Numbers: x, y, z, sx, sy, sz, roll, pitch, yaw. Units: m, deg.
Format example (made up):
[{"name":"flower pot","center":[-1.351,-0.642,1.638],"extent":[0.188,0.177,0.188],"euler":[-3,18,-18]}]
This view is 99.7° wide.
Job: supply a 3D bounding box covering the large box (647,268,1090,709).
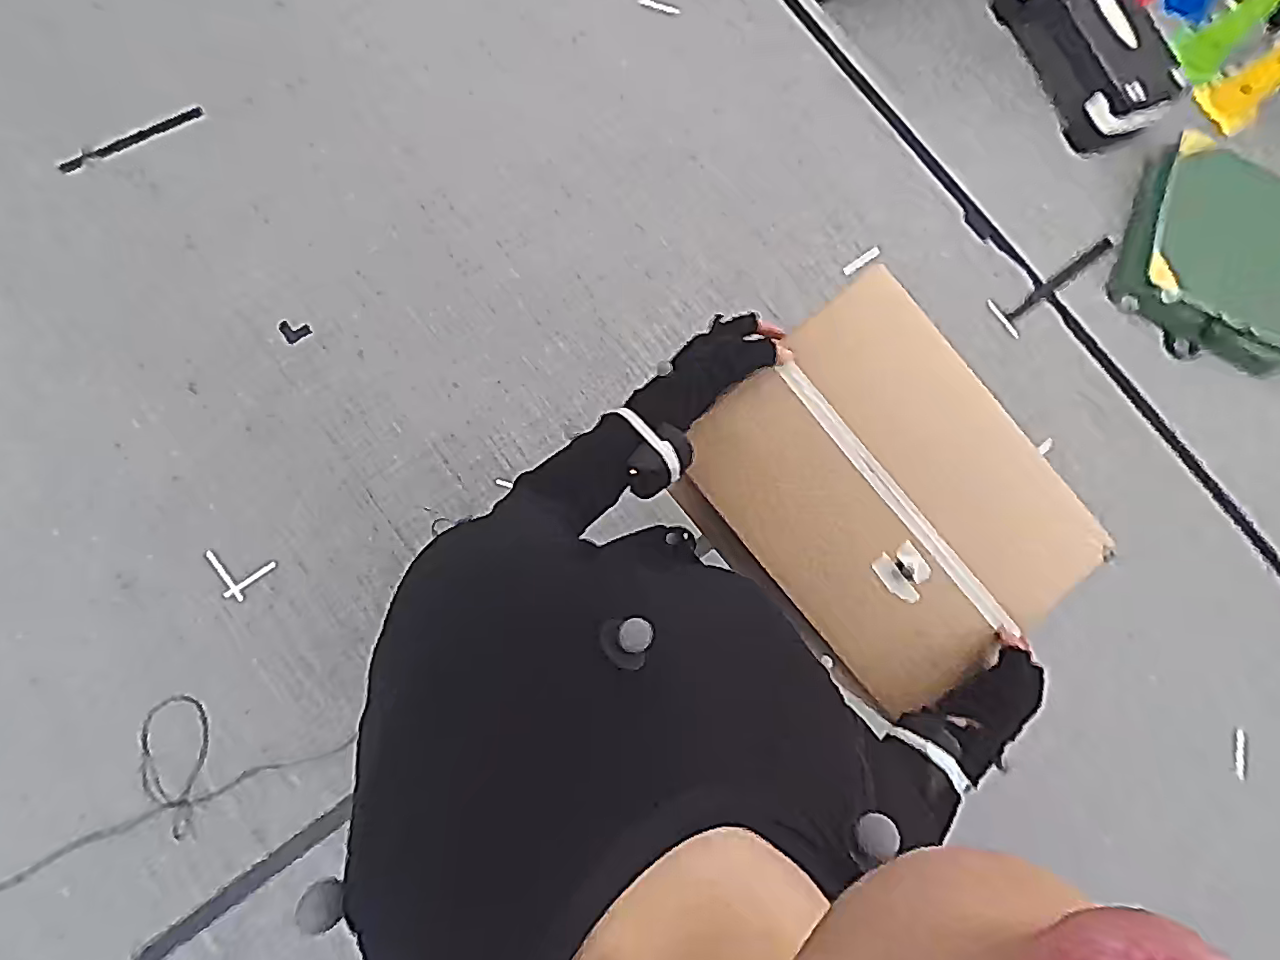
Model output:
[{"name":"large box","center":[0.258,0.009,0.744],"extent":[0.320,0.320,0.408],"euler":[-39,91,-2]}]
